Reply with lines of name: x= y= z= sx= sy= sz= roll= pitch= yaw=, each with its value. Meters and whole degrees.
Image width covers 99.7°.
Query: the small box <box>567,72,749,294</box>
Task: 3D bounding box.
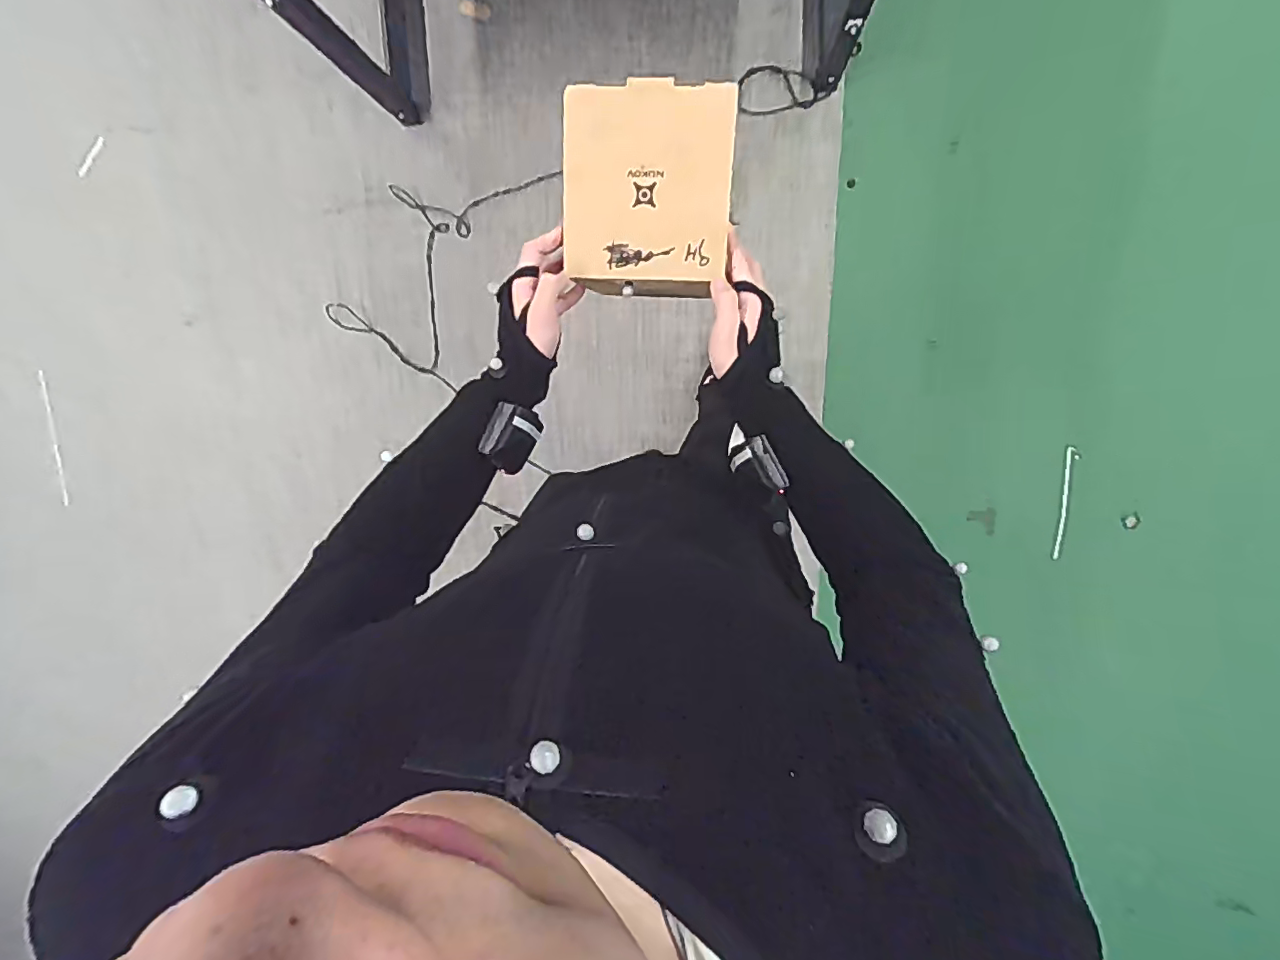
small box: x=0.021 y=-0.307 z=0.592 sx=0.168 sy=0.176 sz=0.179 roll=5 pitch=105 yaw=6
